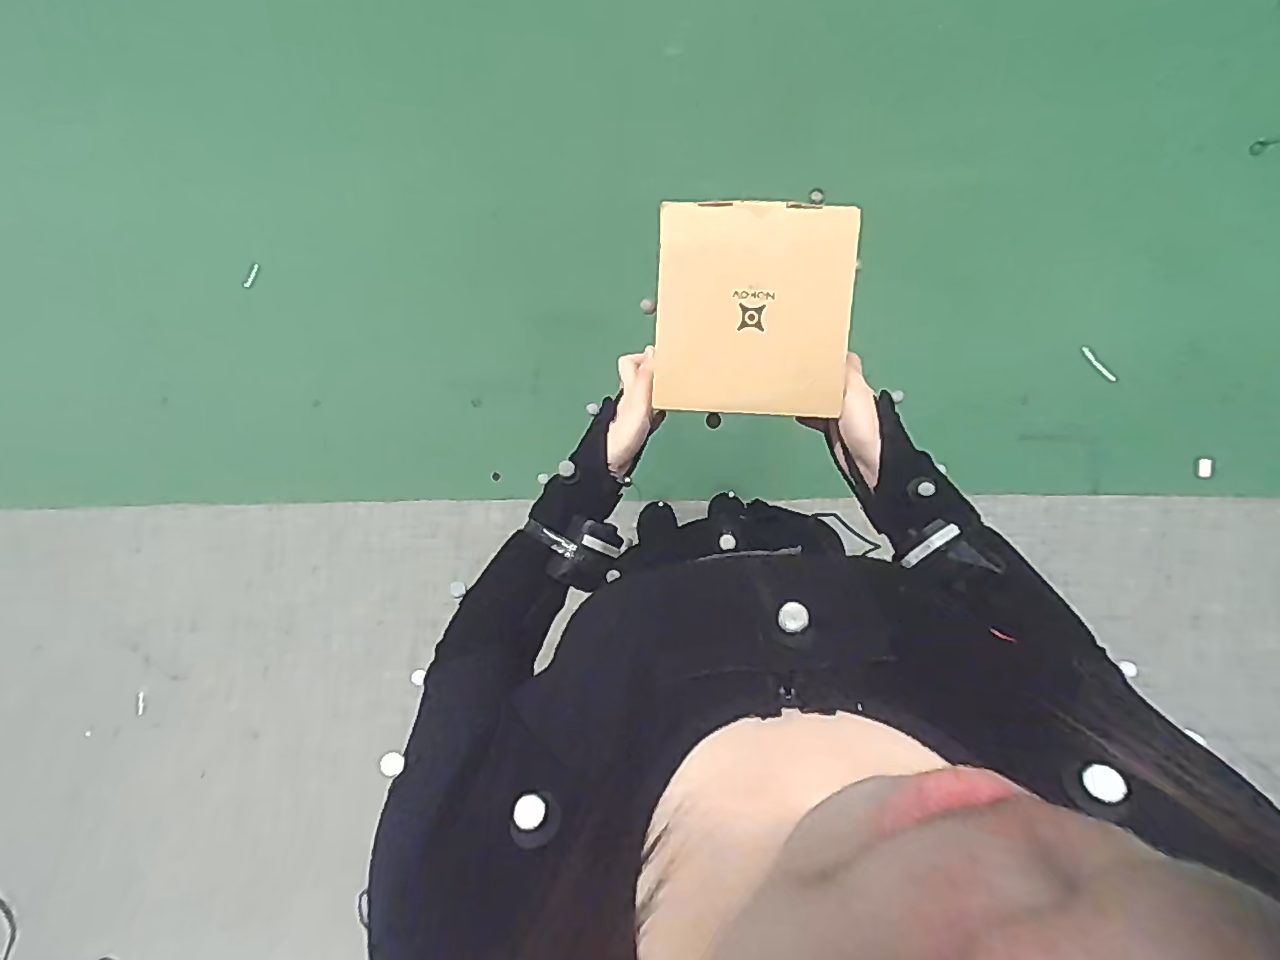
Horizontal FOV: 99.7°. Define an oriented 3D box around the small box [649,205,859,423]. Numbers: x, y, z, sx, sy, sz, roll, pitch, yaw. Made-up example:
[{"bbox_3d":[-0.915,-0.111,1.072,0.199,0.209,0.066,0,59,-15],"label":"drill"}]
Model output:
[{"bbox_3d":[0.100,-0.150,0.537,0.168,0.176,0.179,3,97,4],"label":"small box"}]
